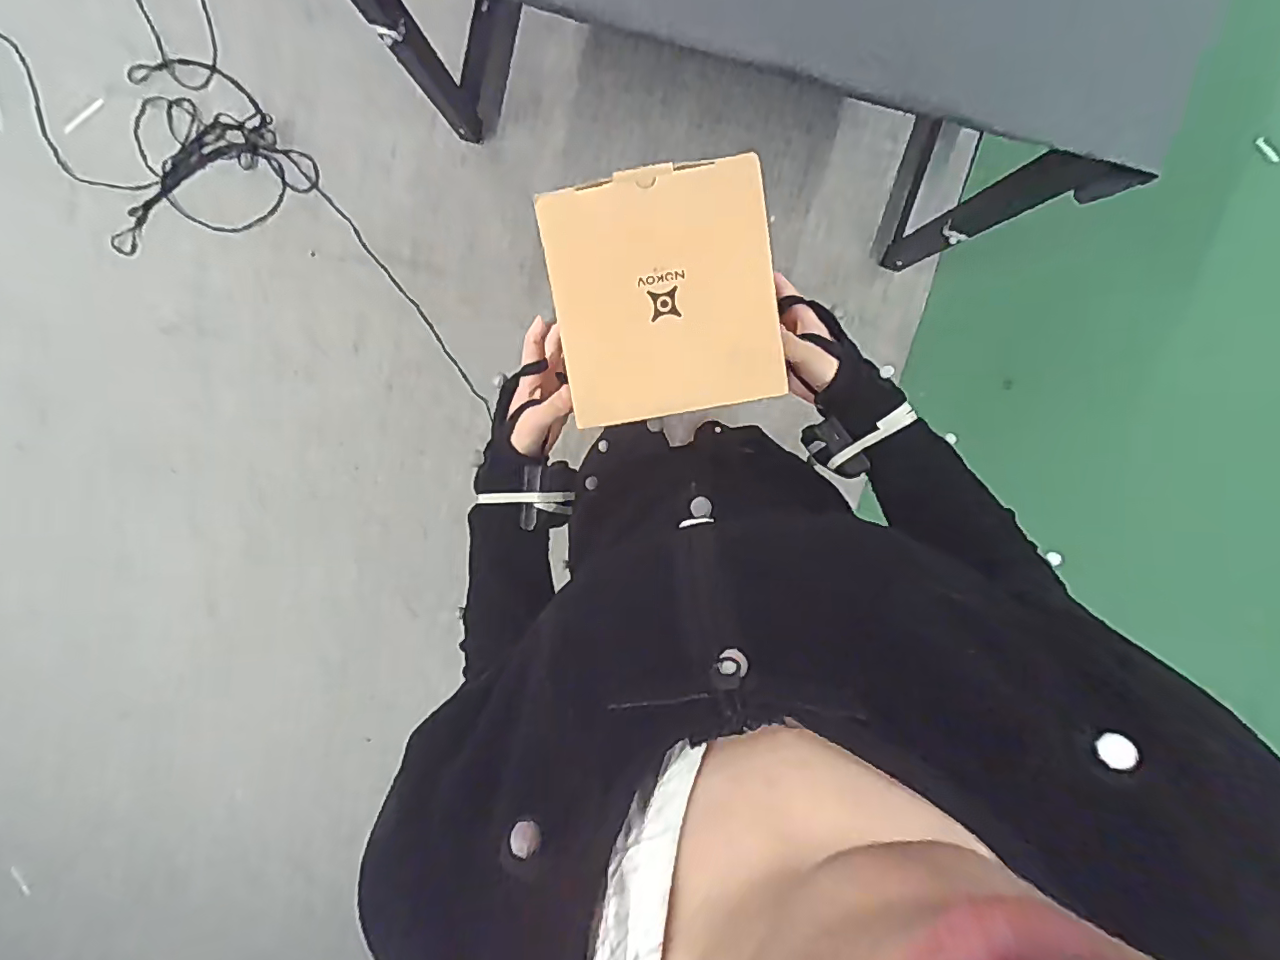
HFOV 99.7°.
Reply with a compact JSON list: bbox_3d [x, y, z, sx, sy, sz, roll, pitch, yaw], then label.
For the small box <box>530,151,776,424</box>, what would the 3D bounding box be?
[{"bbox_3d":[0.015,-0.152,0.482,0.168,0.176,0.179,-9,97,3],"label":"small box"}]
